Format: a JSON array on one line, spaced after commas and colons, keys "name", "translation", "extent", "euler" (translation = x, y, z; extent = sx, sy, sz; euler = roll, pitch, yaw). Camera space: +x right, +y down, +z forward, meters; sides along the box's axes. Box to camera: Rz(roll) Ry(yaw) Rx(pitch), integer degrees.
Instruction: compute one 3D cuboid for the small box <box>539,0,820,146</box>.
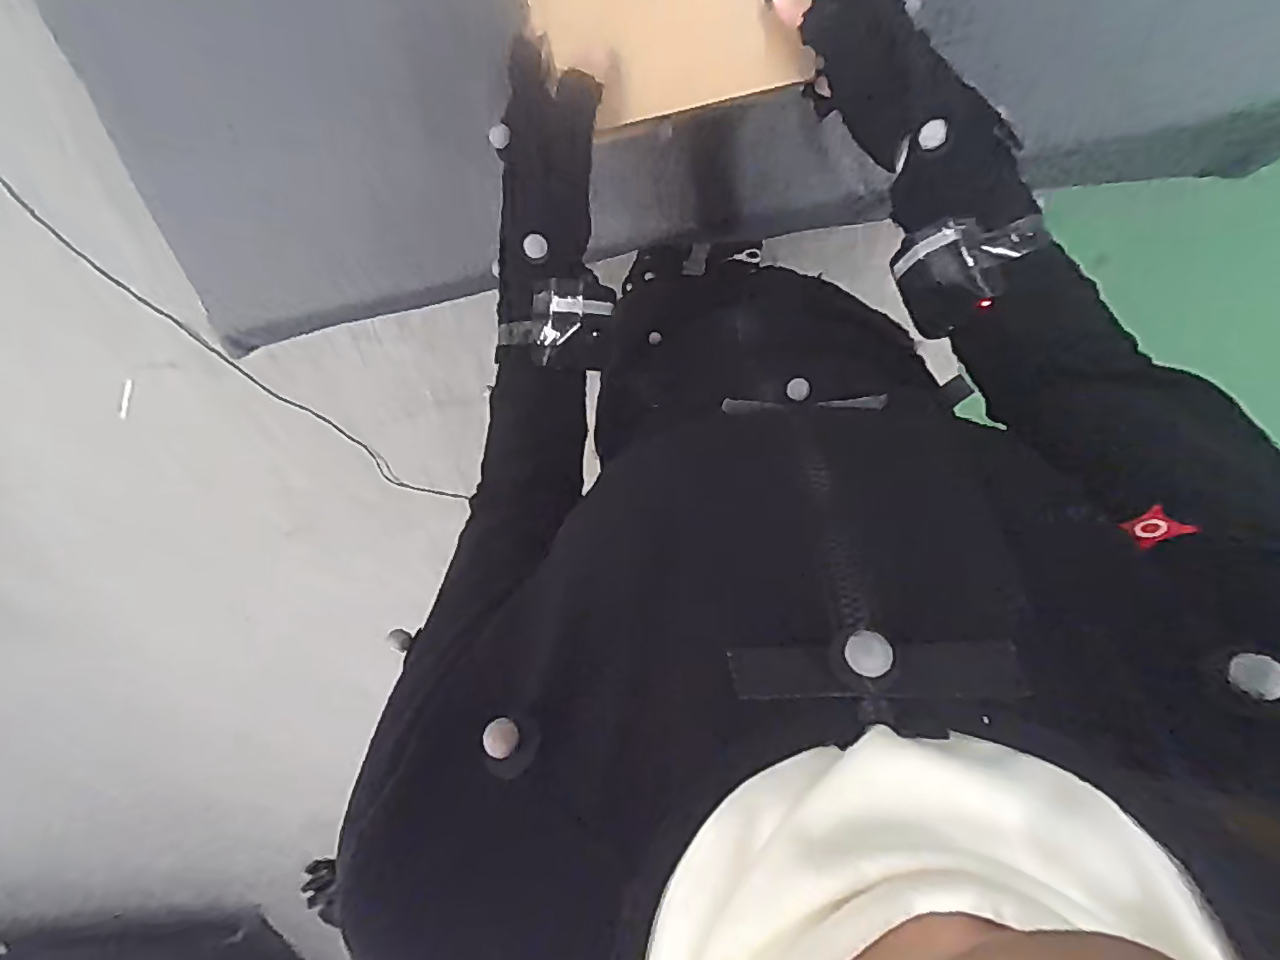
[{"name": "small box", "translation": [0.018, -0.369, 0.404], "extent": [0.179, 0.176, 0.168], "euler": [-13, 117, 6]}]
